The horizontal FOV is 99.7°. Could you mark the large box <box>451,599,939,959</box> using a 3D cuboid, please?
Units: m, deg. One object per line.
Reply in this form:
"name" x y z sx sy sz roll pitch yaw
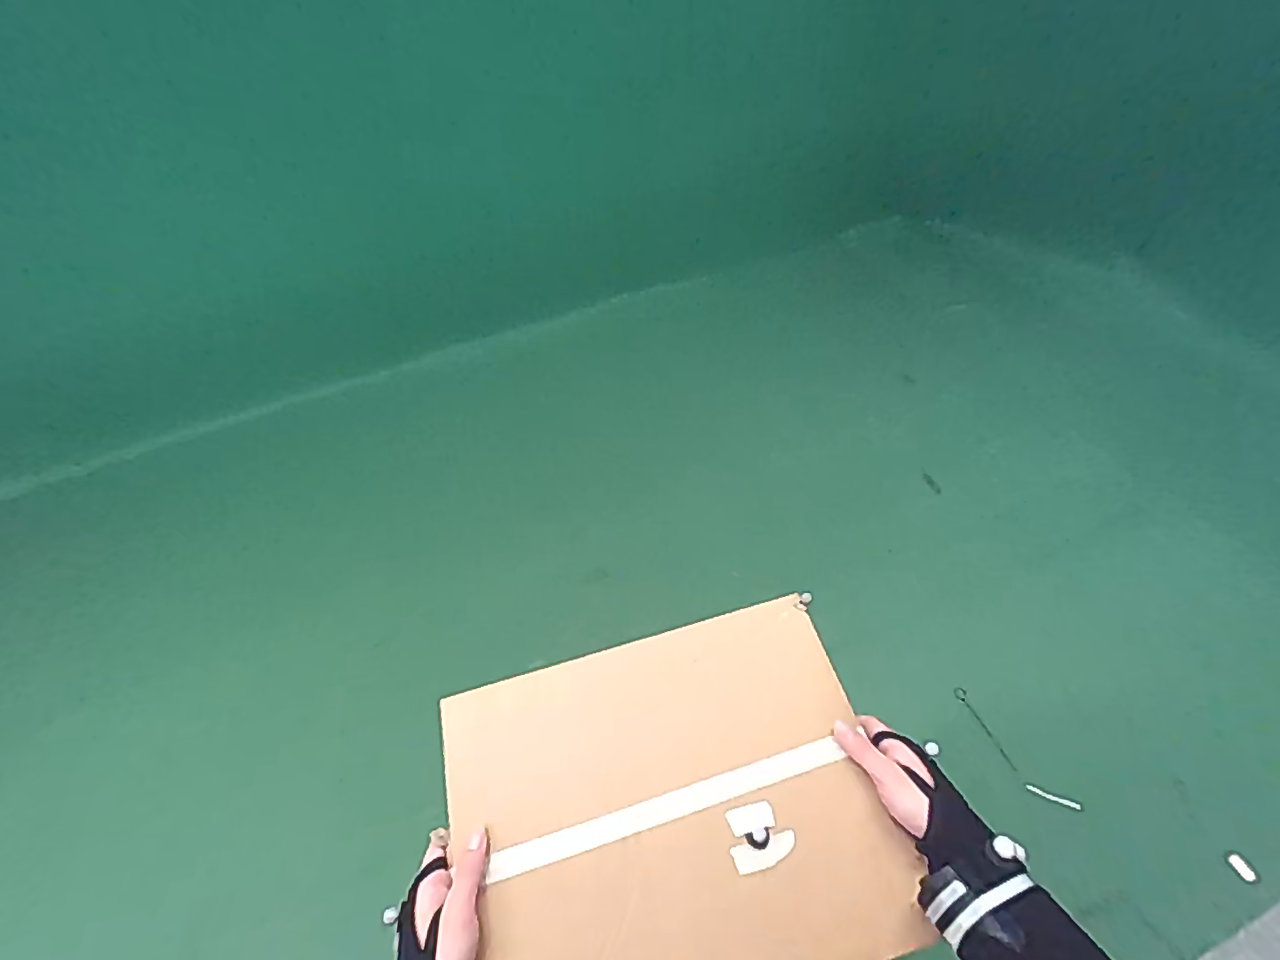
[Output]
"large box" 0.033 0.392 0.644 0.408 0.320 0.320 -14 58 -9
